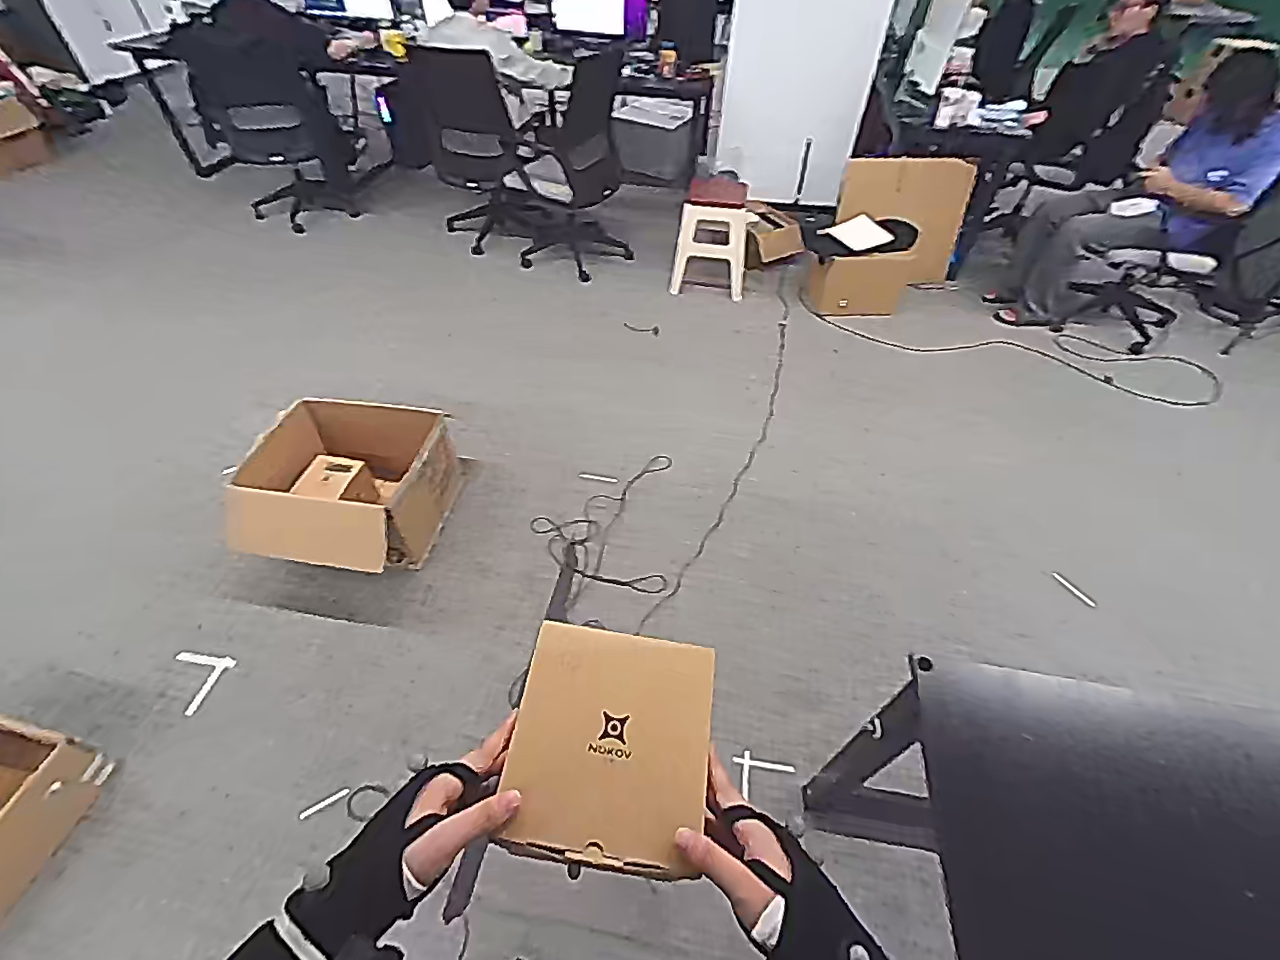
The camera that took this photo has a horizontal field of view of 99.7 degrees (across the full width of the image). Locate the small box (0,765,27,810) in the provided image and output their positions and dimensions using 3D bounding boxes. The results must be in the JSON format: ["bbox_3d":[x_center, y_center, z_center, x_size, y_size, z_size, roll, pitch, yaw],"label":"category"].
[{"bbox_3d":[-1.540,0.694,1.181,0.179,0.176,0.168,13,49,7],"label":"small box"}]
